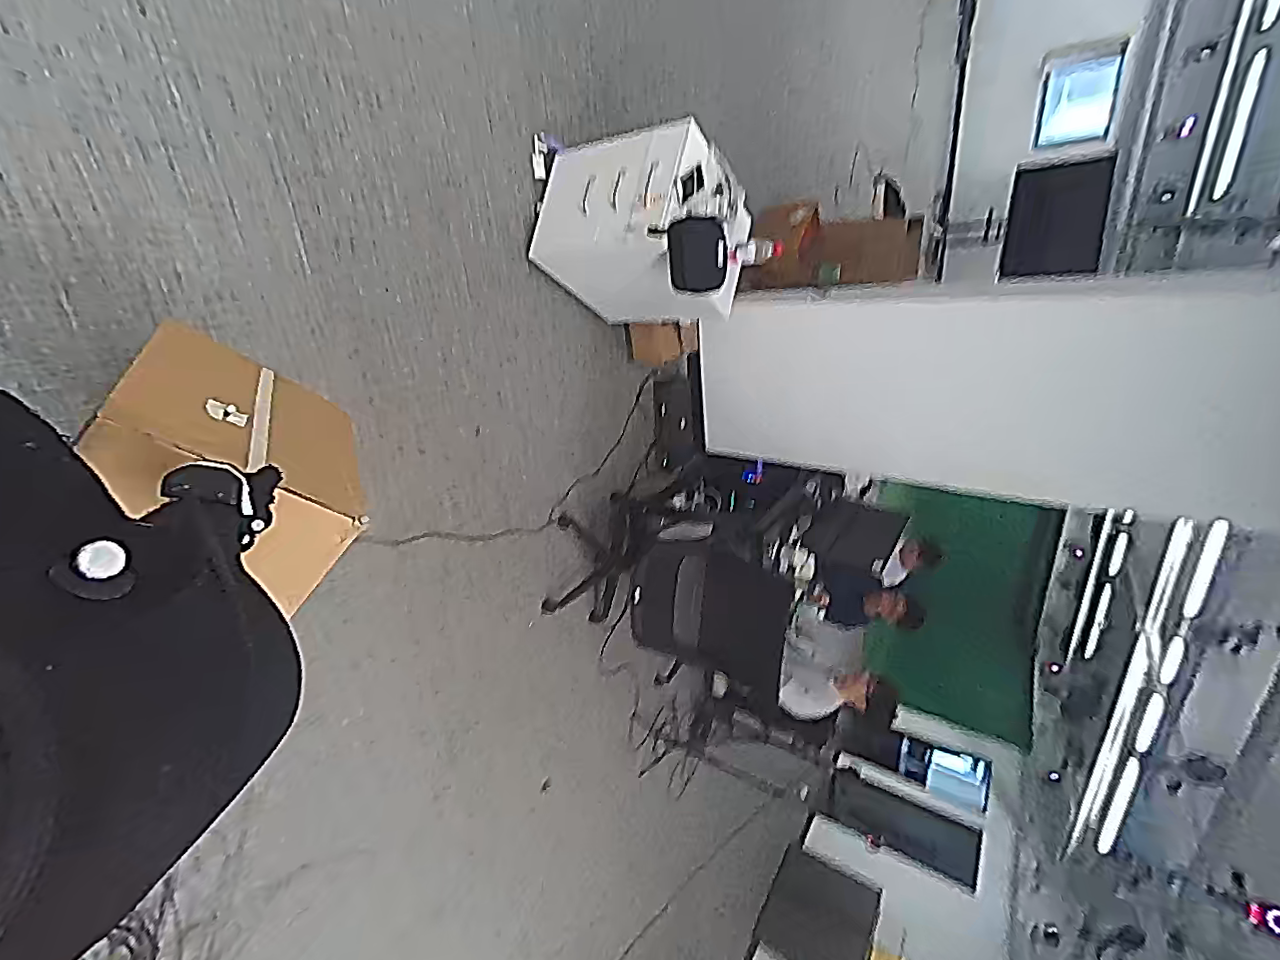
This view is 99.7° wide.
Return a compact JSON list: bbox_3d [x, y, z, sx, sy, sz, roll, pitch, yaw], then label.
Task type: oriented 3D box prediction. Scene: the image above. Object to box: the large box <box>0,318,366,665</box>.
[{"bbox_3d":[-0.685,0.013,0.852,0.320,0.408,0.320,-50,133,8],"label":"large box"}]
